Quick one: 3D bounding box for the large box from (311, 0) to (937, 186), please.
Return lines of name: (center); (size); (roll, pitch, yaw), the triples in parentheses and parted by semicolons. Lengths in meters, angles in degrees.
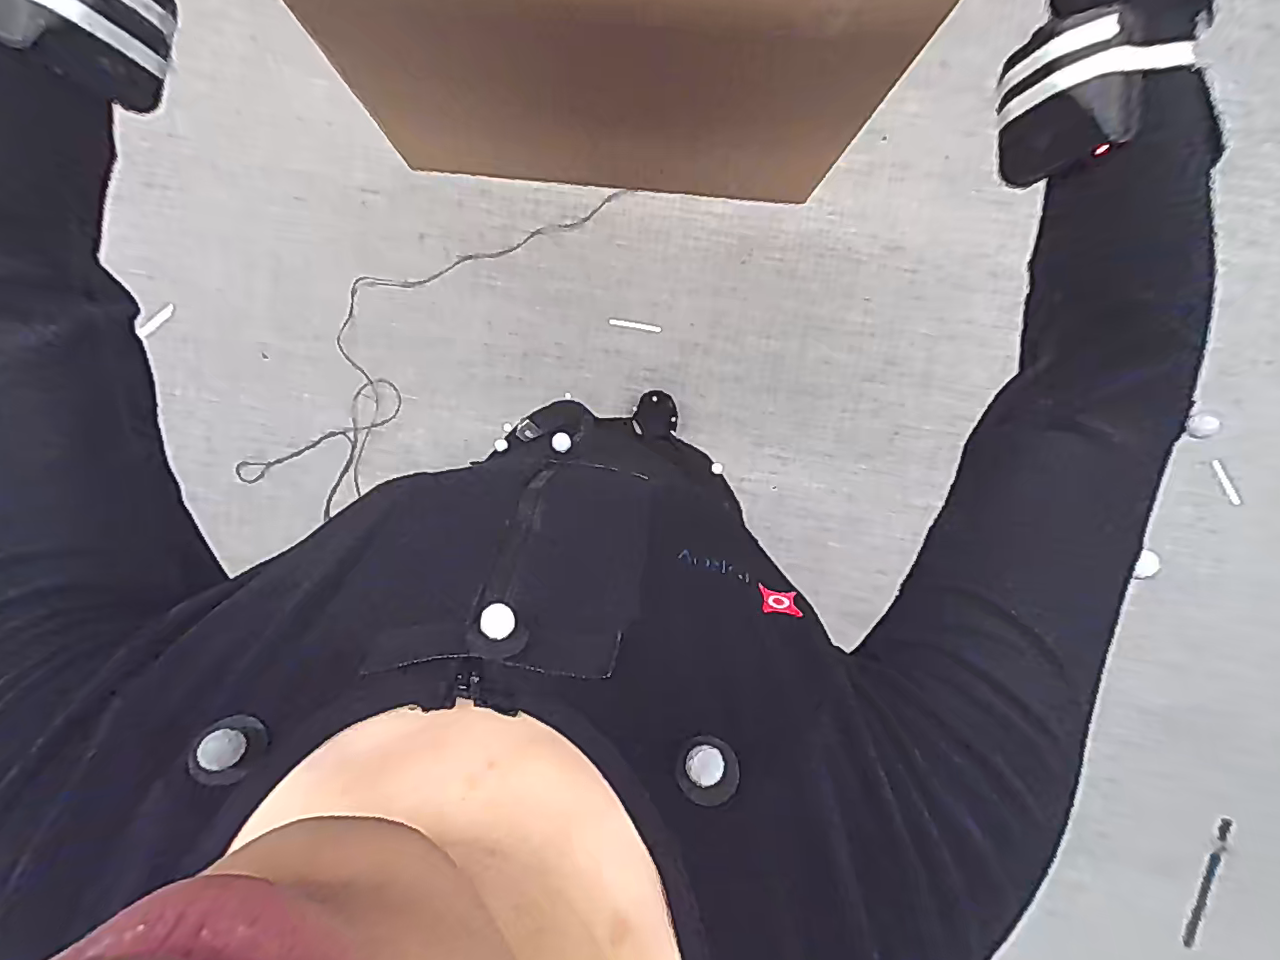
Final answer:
large box: (-0.014, -0.450, 0.390); (0.408, 0.320, 0.320); (3, 94, -3)
